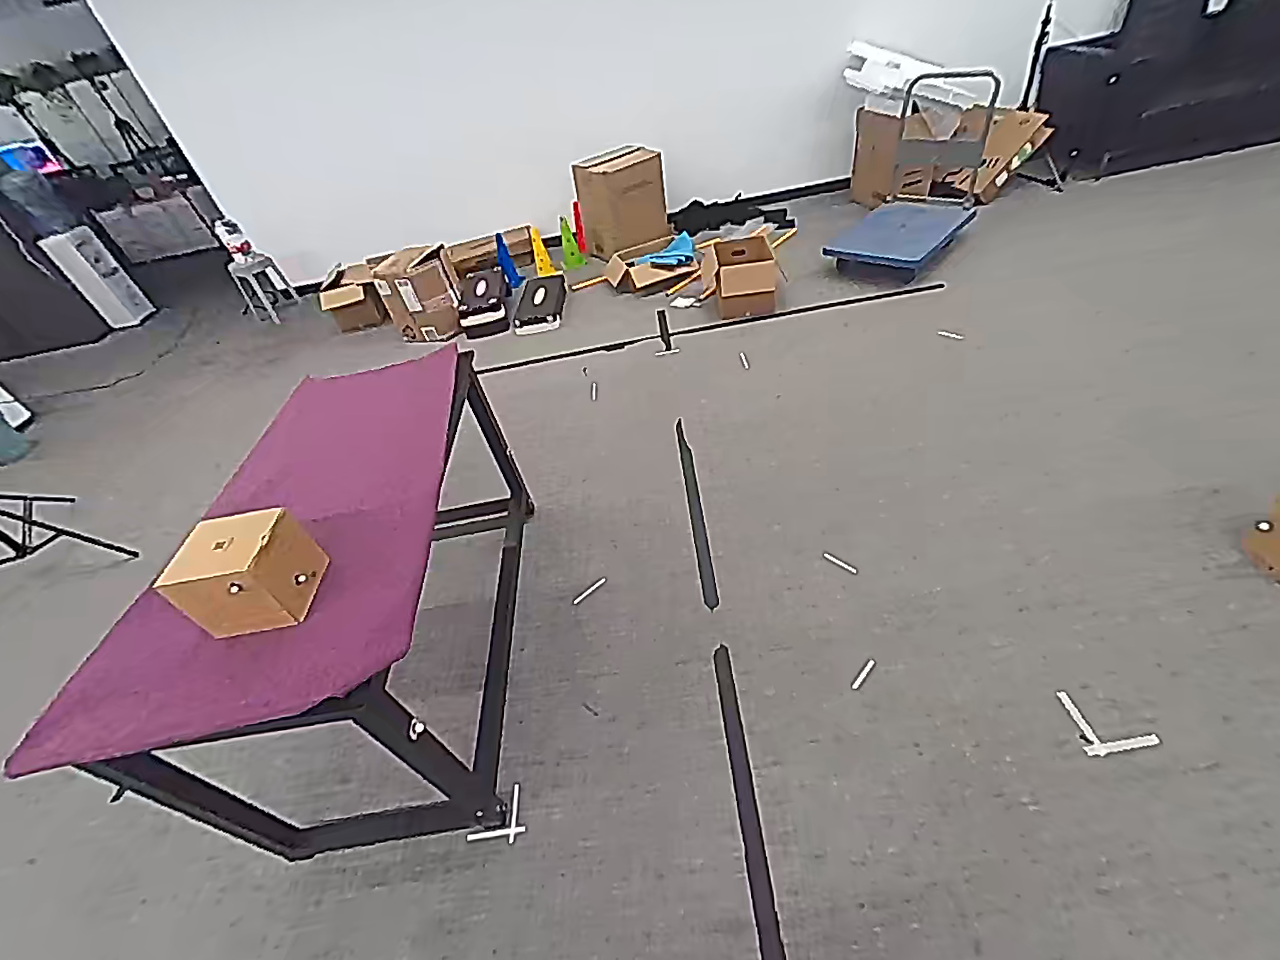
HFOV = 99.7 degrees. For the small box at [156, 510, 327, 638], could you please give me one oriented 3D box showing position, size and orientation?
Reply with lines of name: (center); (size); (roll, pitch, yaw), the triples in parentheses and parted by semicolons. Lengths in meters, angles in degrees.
small box: (-0.759, 0.187, 1.053); (0.179, 0.176, 0.168); (-10, 41, 1)
